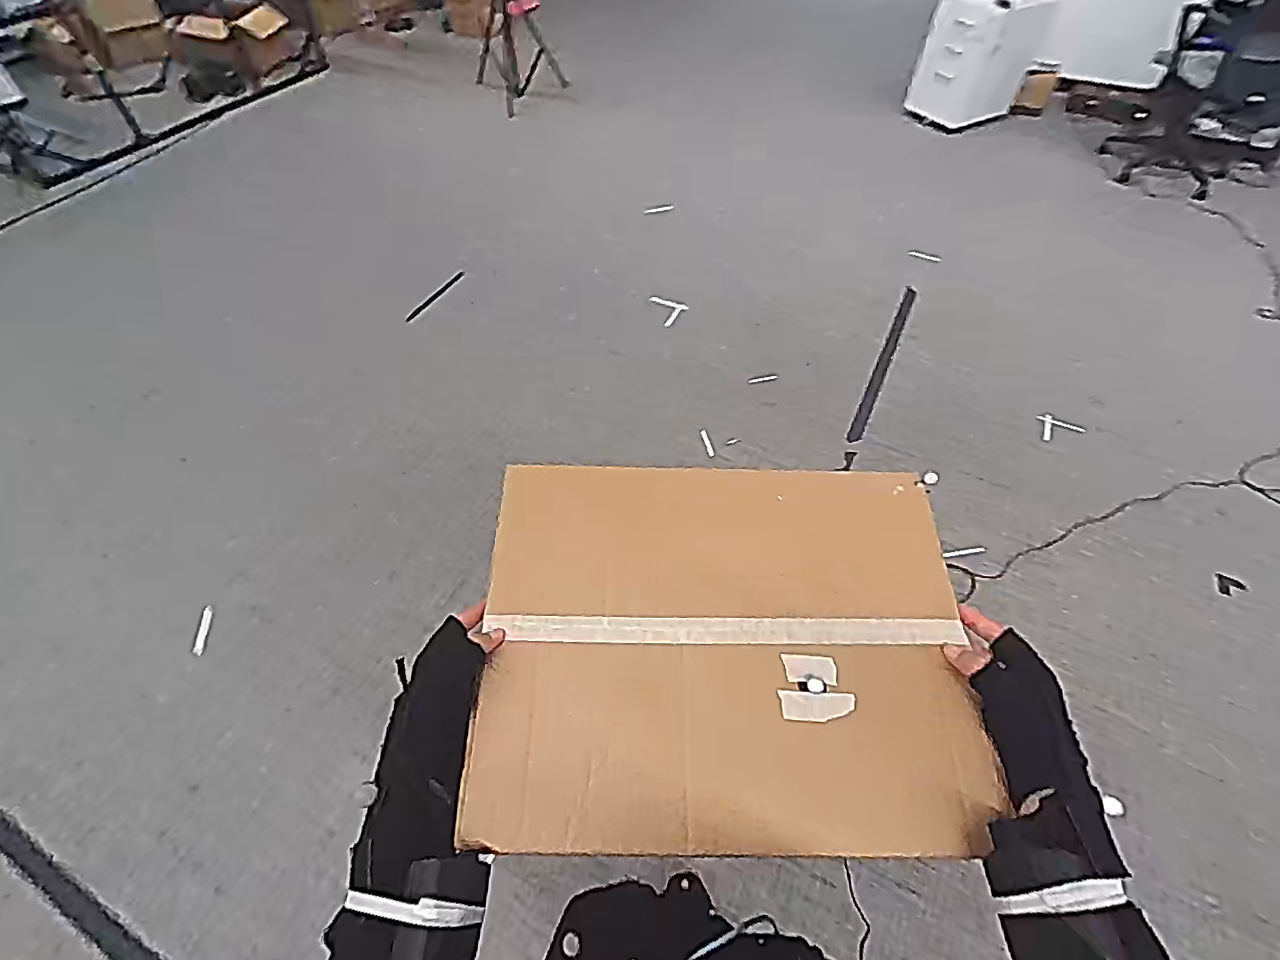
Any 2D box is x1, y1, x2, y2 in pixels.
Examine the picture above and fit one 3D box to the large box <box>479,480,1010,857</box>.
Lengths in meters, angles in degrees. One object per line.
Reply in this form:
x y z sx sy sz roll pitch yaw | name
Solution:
0.075 0.209 0.597 0.408 0.320 0.320 2 62 -1 | large box
